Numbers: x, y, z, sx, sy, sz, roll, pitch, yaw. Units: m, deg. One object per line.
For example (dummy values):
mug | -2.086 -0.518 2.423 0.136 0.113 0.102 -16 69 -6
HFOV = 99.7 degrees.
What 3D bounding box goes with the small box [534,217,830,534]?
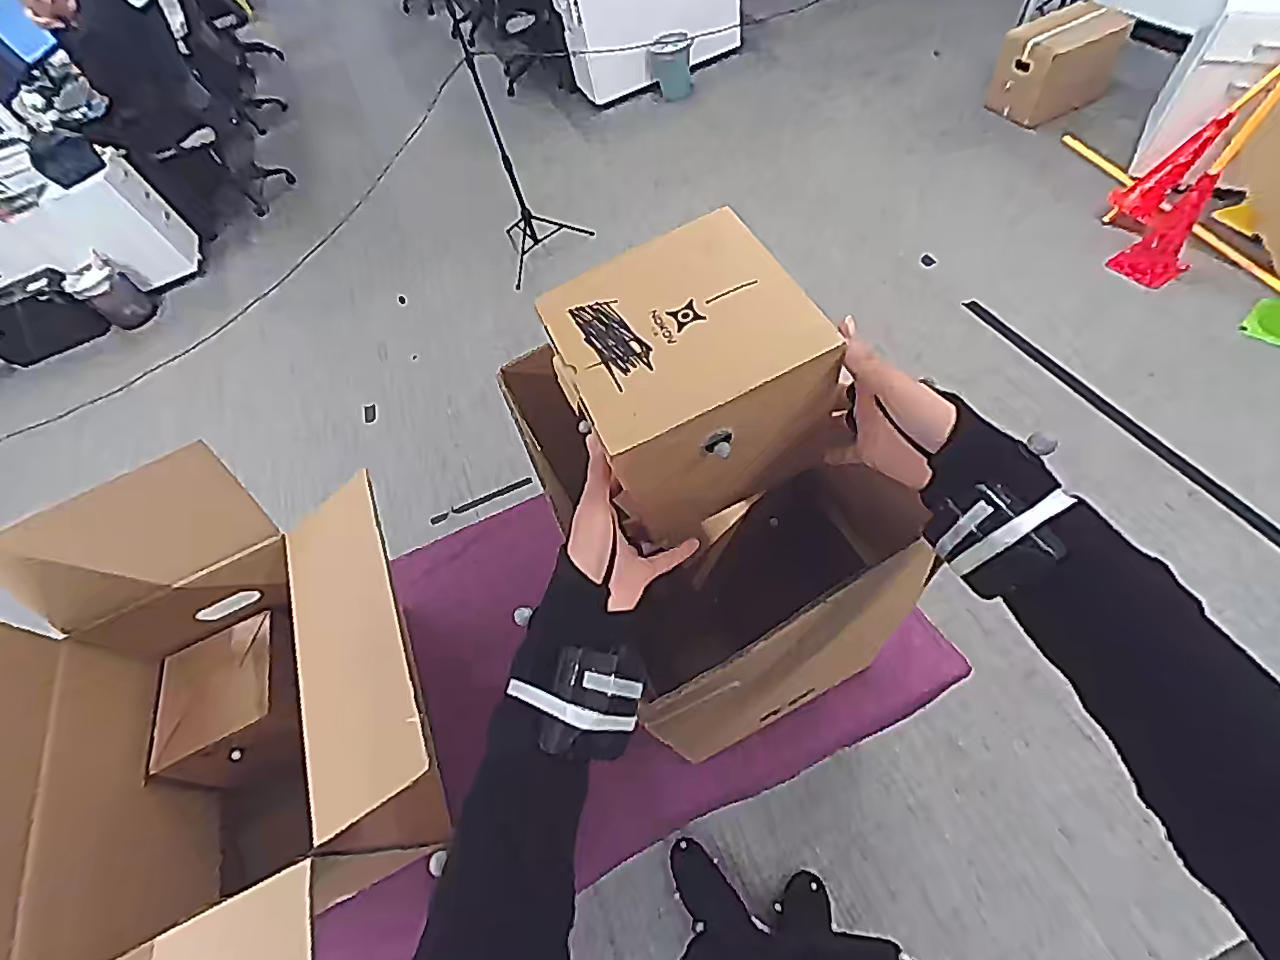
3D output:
small box | 0.038 -0.078 0.468 0.179 0.176 0.168 -27 61 -2
